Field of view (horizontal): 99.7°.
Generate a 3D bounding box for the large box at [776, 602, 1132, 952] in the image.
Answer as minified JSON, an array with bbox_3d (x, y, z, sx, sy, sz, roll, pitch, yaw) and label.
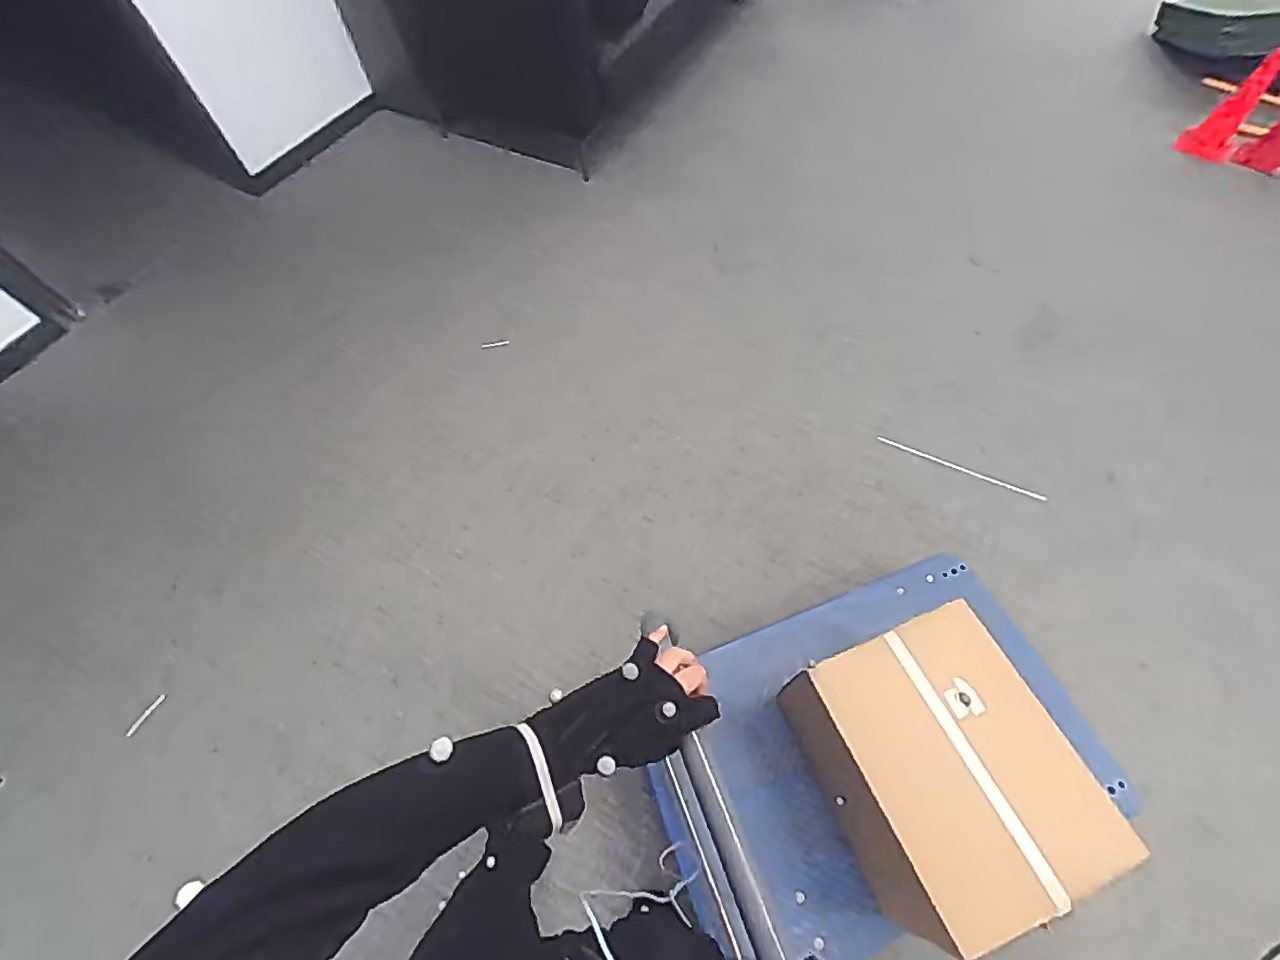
[{"bbox_3d":[0.490,0.497,0.961,0.320,0.320,0.408,-21,60,-9],"label":"large box"}]
